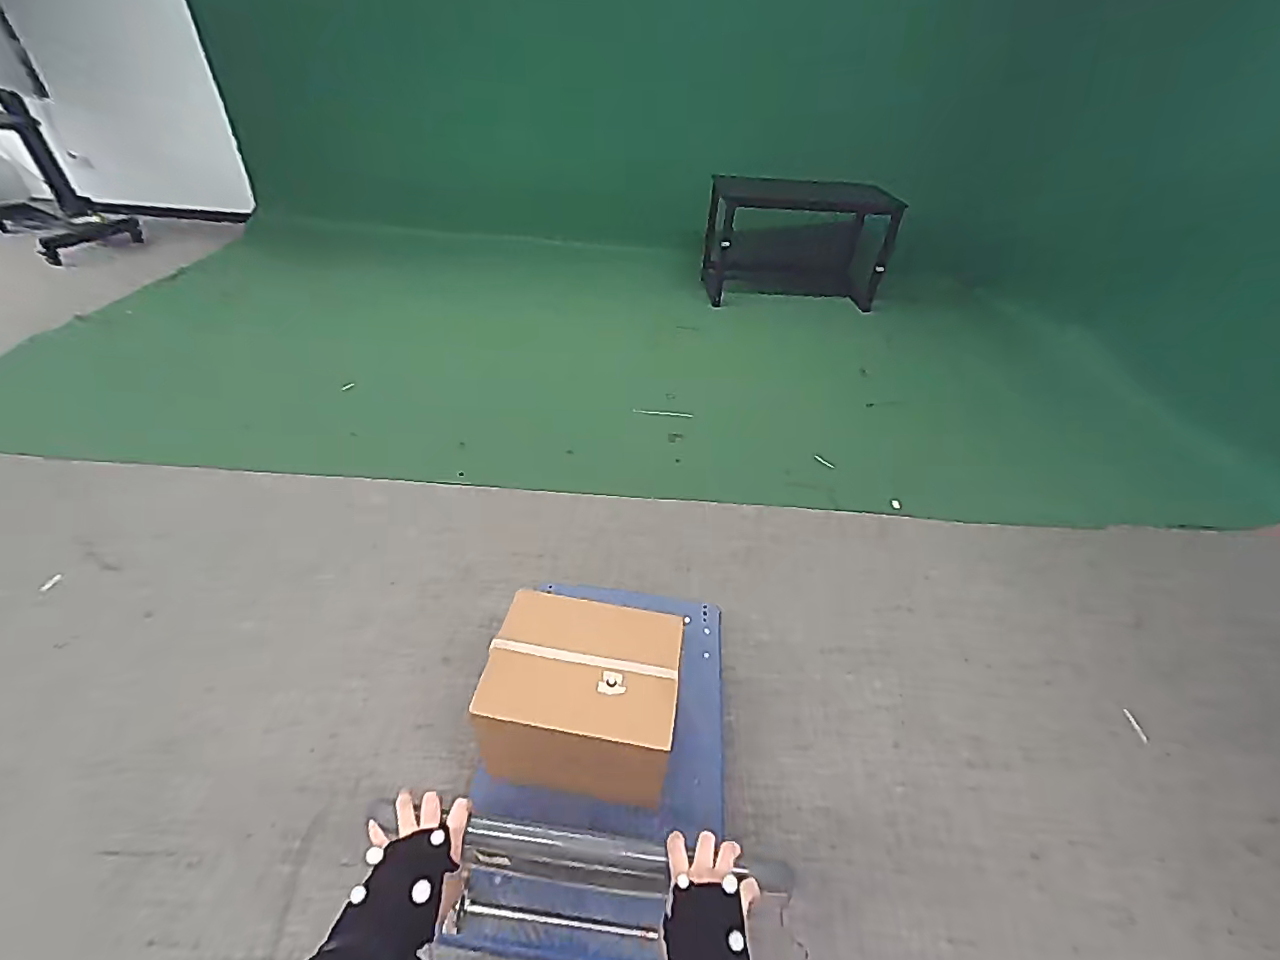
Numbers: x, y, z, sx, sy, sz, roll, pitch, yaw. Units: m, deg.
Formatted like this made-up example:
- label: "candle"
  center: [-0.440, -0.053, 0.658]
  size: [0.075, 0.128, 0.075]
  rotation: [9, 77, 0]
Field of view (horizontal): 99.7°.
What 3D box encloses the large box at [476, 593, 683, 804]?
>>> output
- label: "large box"
  center: [-0.130, 0.512, 1.275]
  size: [0.408, 0.320, 0.320]
  rotation: [10, 40, 3]
